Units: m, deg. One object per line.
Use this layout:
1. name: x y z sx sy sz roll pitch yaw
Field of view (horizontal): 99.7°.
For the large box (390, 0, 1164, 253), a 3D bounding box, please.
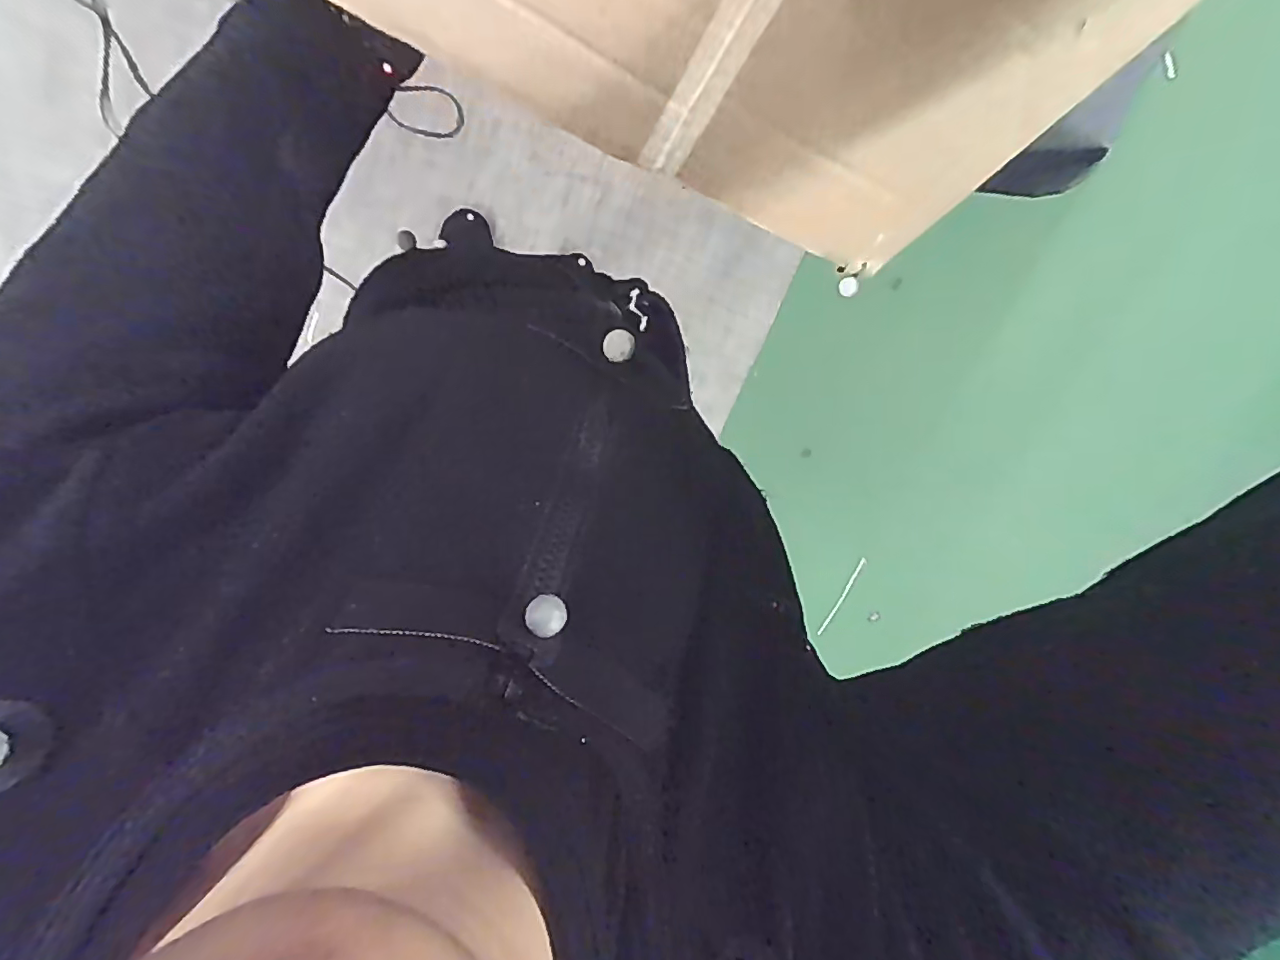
1. large box: 0.112 -0.388 0.200 0.320 0.320 0.408 14 153 -23
